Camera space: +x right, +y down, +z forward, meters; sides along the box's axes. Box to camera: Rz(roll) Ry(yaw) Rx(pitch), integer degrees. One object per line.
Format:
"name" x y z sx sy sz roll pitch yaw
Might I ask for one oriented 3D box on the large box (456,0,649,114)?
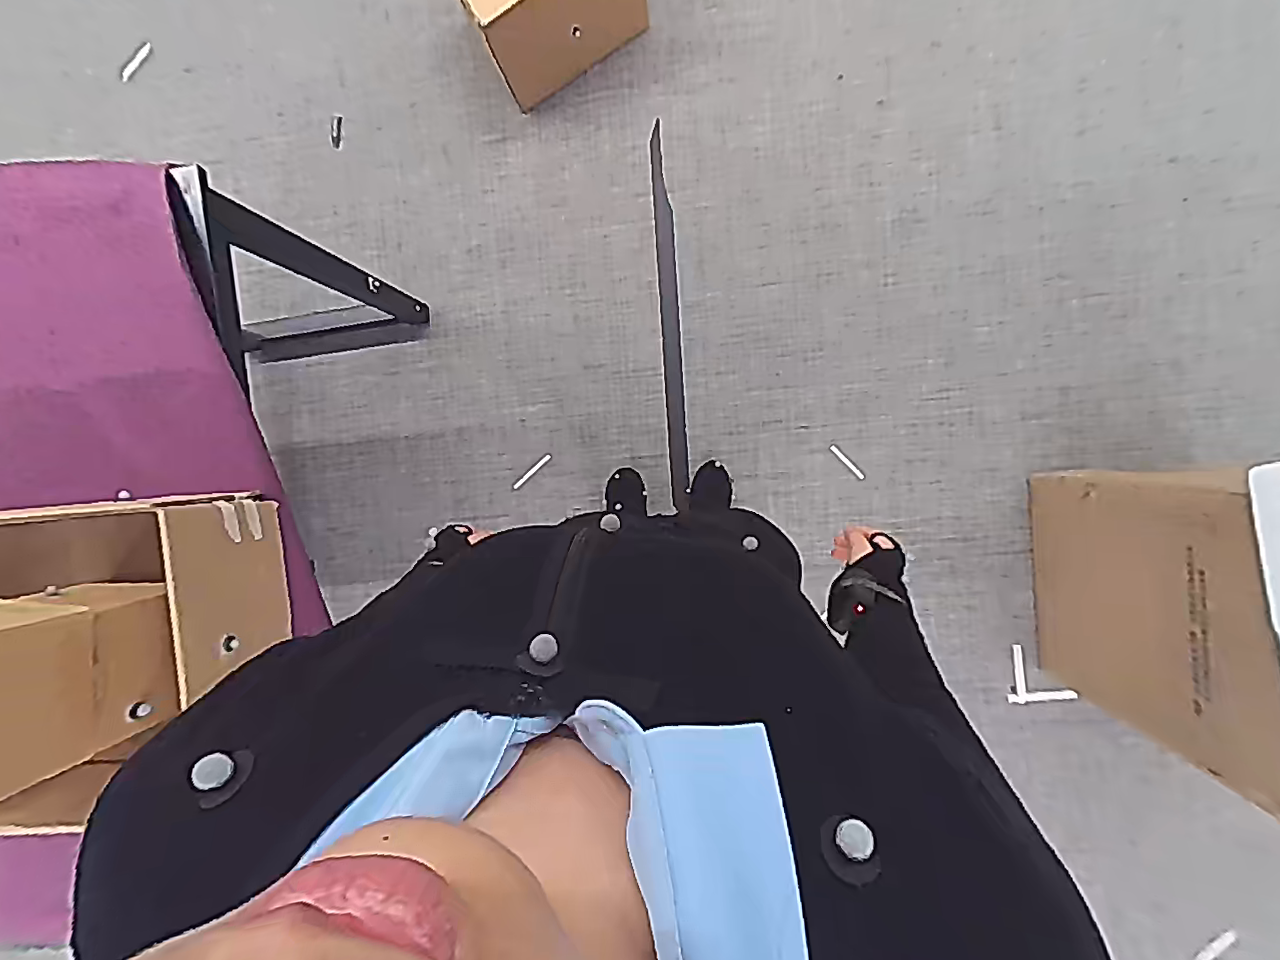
"large box" -0.234 -1.211 1.299 0.408 0.320 0.320 -32 89 7
